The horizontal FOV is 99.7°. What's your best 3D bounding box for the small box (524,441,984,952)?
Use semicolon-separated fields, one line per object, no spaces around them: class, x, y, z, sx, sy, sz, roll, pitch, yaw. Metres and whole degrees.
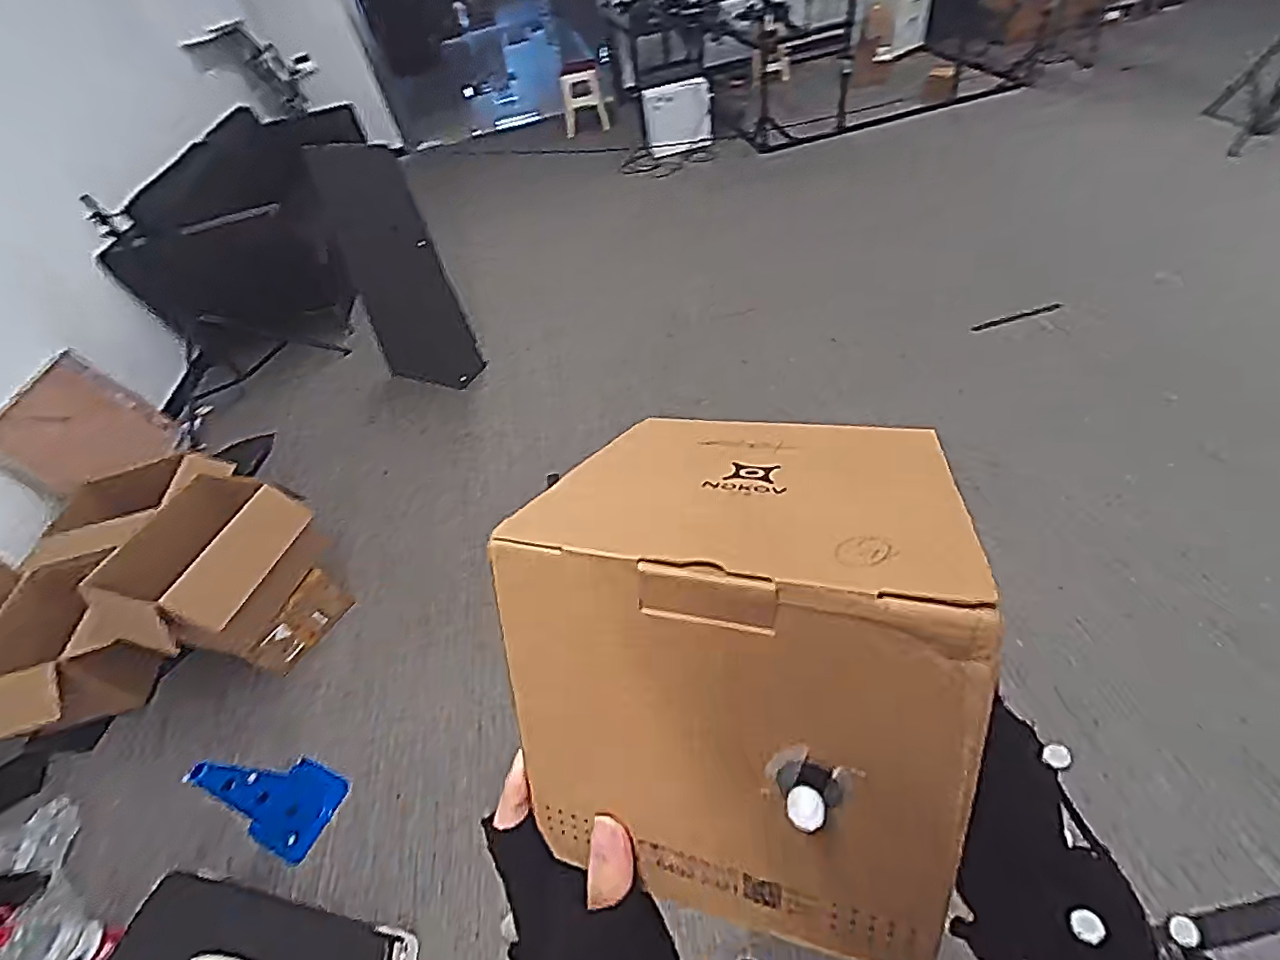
small box;0.064;0.086;0.288;0.168;0.176;0.179;5;22;21
